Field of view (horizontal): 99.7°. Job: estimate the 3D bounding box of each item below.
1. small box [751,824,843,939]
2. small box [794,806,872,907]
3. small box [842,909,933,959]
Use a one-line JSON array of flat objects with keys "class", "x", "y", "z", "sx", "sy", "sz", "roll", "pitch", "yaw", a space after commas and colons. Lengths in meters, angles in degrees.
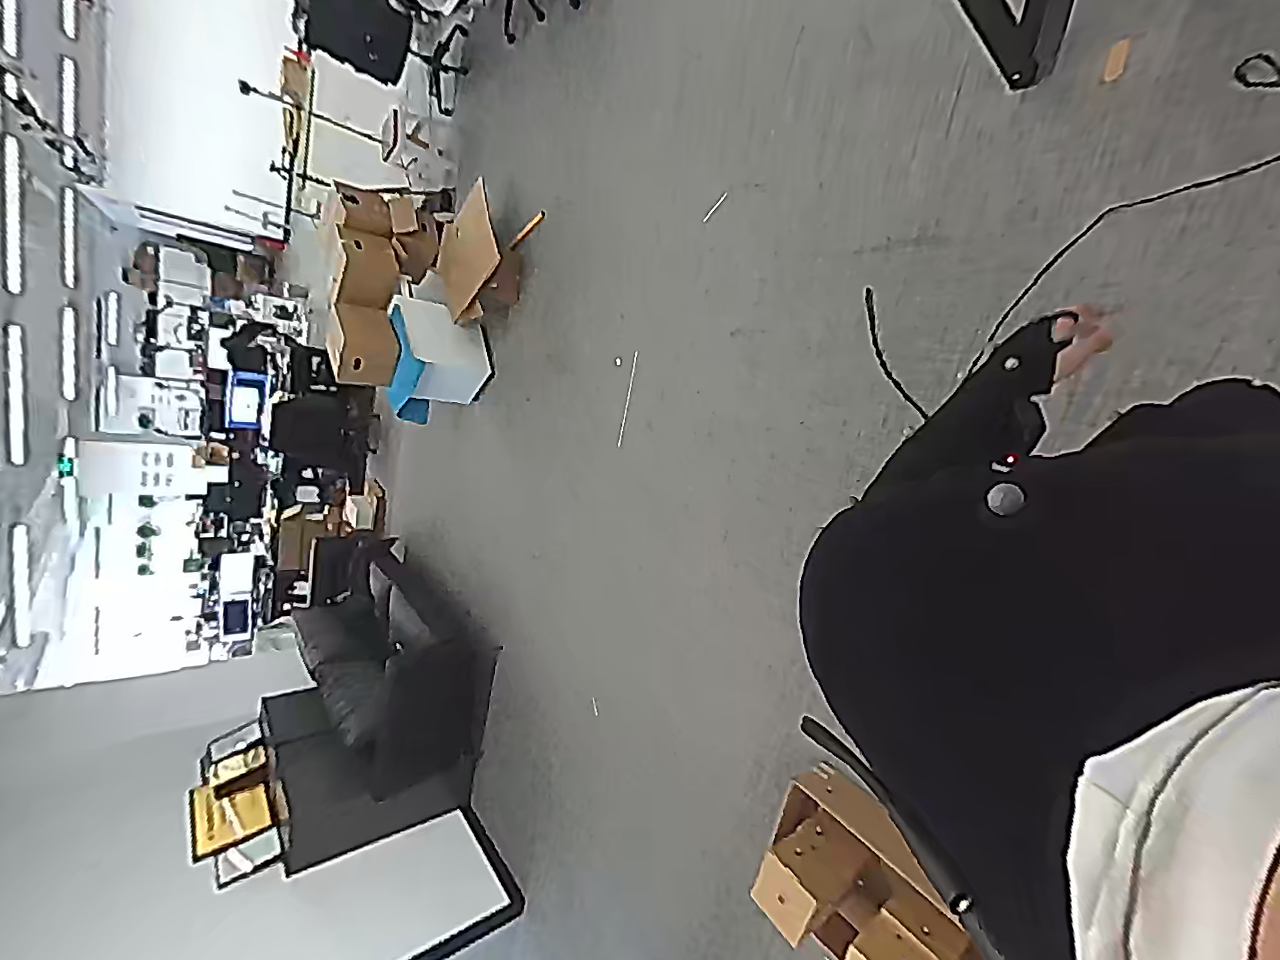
[{"class": "small box", "x": 0.454, "y": 1.141, "z": 1.553, "sx": 0.168, "sy": 0.176, "sz": 0.179, "roll": 33, "pitch": 113, "yaw": 46}, {"class": "small box", "x": 0.575, "y": 1.142, "z": 1.663, "sx": 0.179, "sy": 0.176, "sz": 0.168, "roll": 32, "pitch": 112, "yaw": 44}, {"class": "small box", "x": 0.620, "y": 1.245, "z": 1.361, "sx": 0.168, "sy": 0.176, "sz": 0.179, "roll": 22, "pitch": 106, "yaw": 48}]
